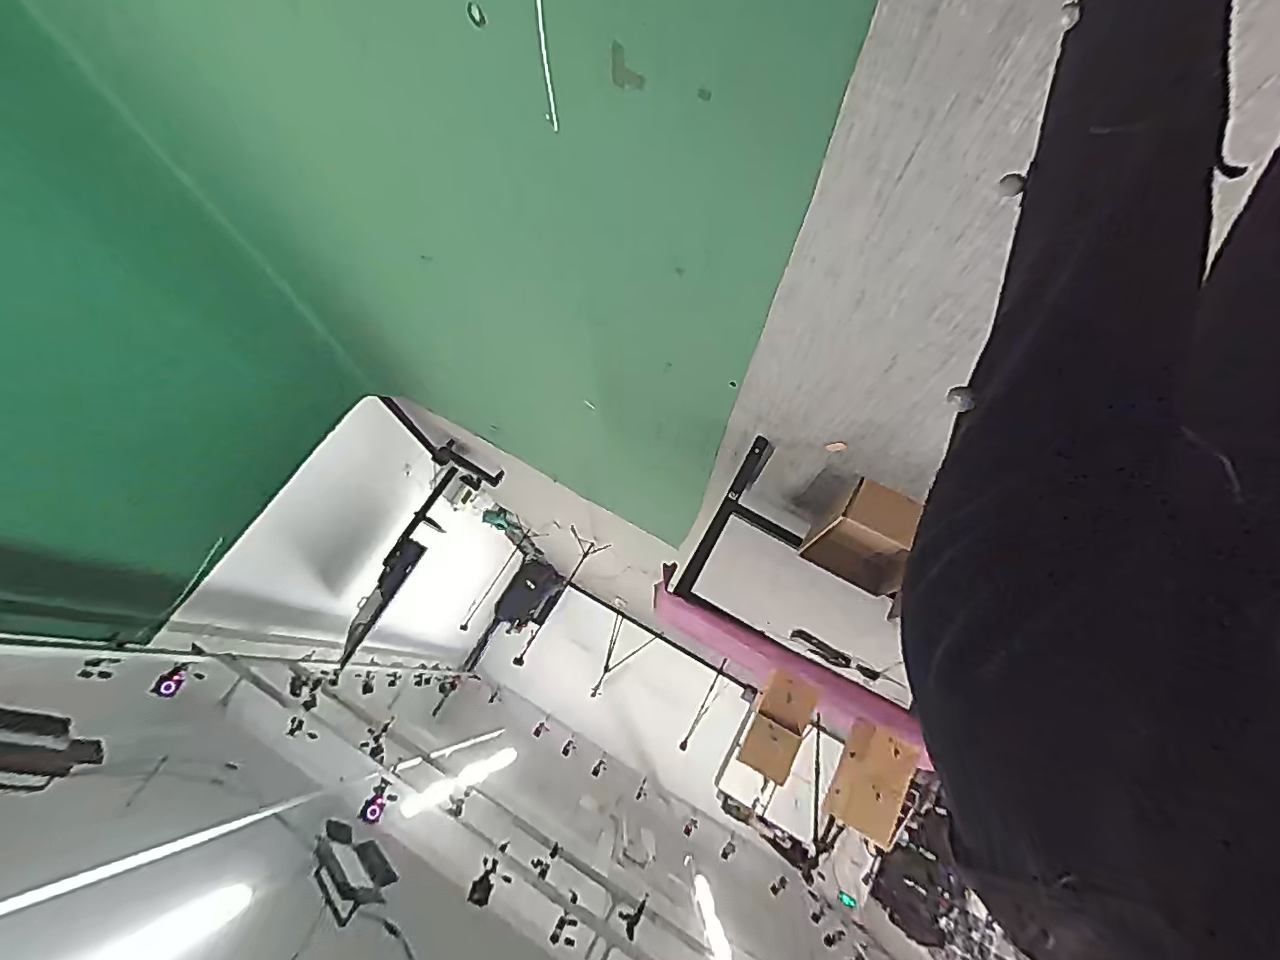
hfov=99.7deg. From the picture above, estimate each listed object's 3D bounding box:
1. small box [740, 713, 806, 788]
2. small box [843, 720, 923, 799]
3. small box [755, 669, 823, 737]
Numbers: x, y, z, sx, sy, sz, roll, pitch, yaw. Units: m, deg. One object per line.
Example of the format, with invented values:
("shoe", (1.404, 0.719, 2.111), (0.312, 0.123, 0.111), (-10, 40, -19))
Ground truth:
("small box", (0.450, 0.912, 1.838), (0.168, 0.176, 0.179), (24, 161, 18))
("small box", (0.836, 0.949, 1.855), (0.168, 0.176, 0.179), (29, 162, 8))
("small box", (0.527, 0.782, 1.910), (0.168, 0.176, 0.179), (28, 162, 13))
